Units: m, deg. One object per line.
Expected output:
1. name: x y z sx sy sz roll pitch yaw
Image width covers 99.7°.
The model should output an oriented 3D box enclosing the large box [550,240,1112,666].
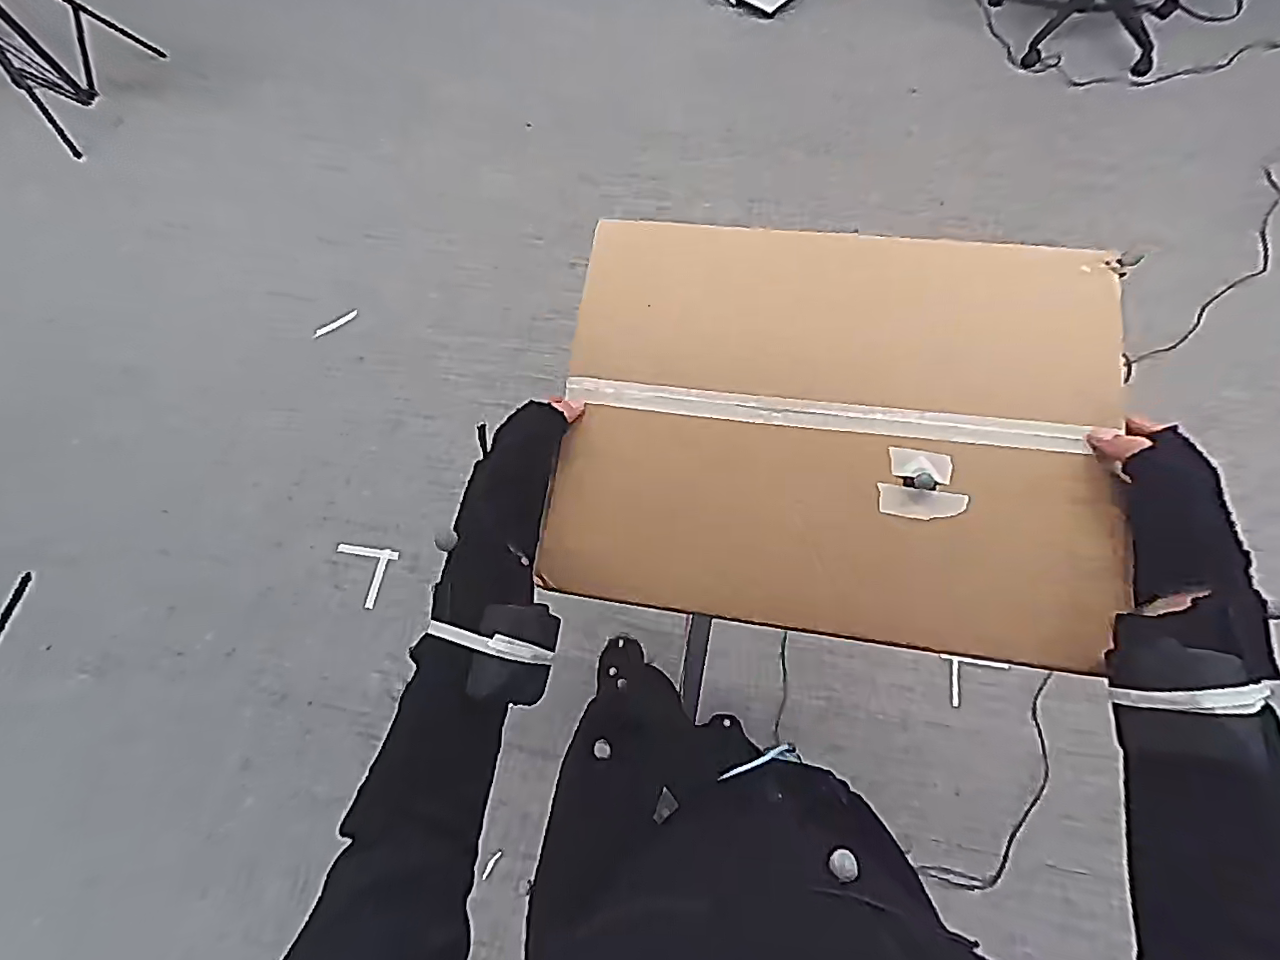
1. large box: 0.156 -0.009 0.563 0.408 0.320 0.320 7 79 7
